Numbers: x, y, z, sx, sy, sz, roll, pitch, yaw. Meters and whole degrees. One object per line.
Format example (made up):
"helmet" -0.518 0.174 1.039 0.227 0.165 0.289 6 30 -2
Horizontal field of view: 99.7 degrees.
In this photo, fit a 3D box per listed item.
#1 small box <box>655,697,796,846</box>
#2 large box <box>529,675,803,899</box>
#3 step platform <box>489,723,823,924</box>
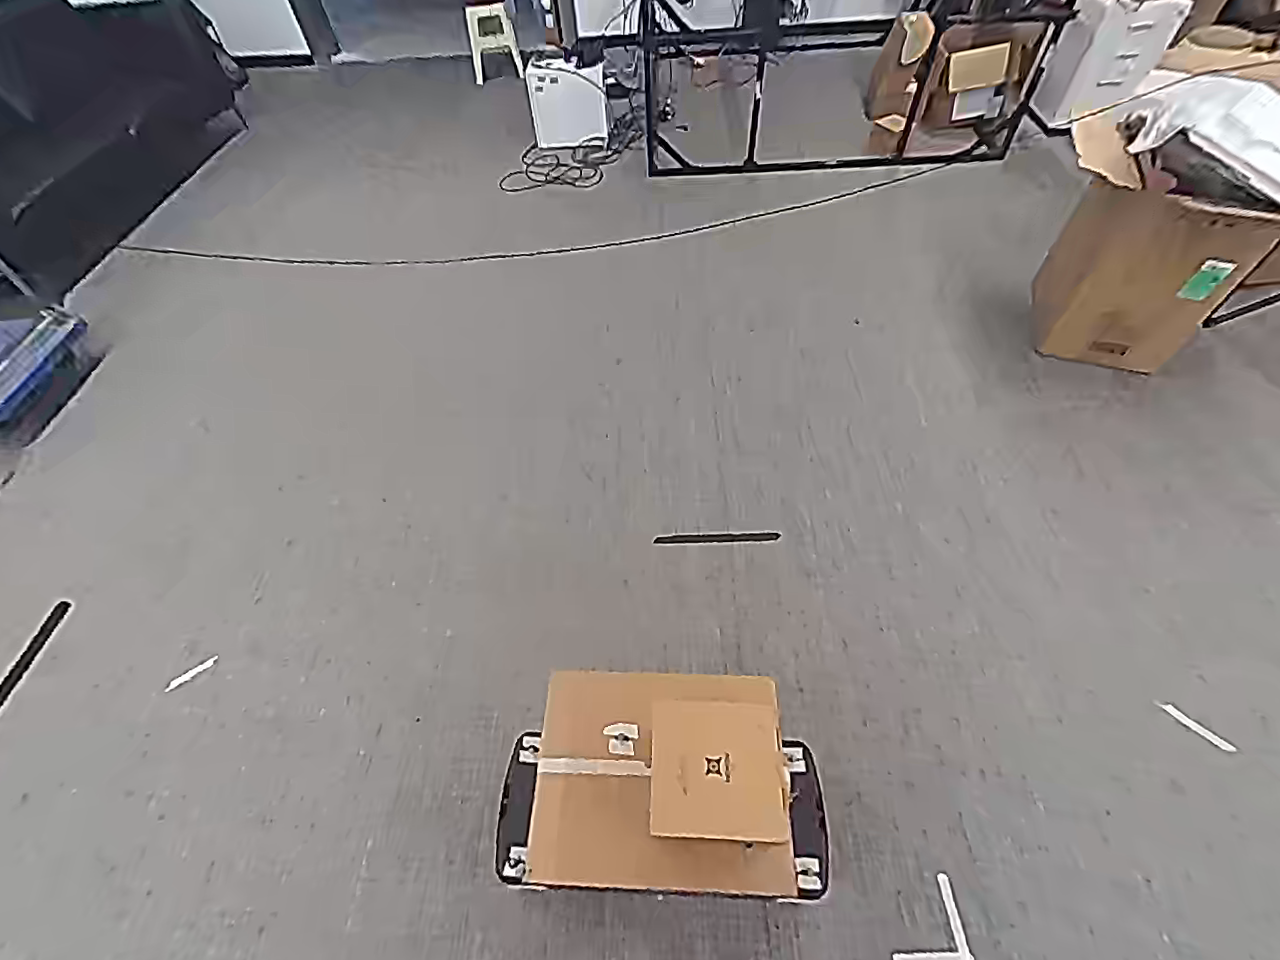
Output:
"small box" 0.115 0.422 0.777 0.179 0.176 0.168 0 54 5
"large box" 0.051 0.559 0.986 0.408 0.320 0.320 -1 52 5
"step platform" 0.035 0.723 1.162 0.684 0.204 0.286 3 53 8
